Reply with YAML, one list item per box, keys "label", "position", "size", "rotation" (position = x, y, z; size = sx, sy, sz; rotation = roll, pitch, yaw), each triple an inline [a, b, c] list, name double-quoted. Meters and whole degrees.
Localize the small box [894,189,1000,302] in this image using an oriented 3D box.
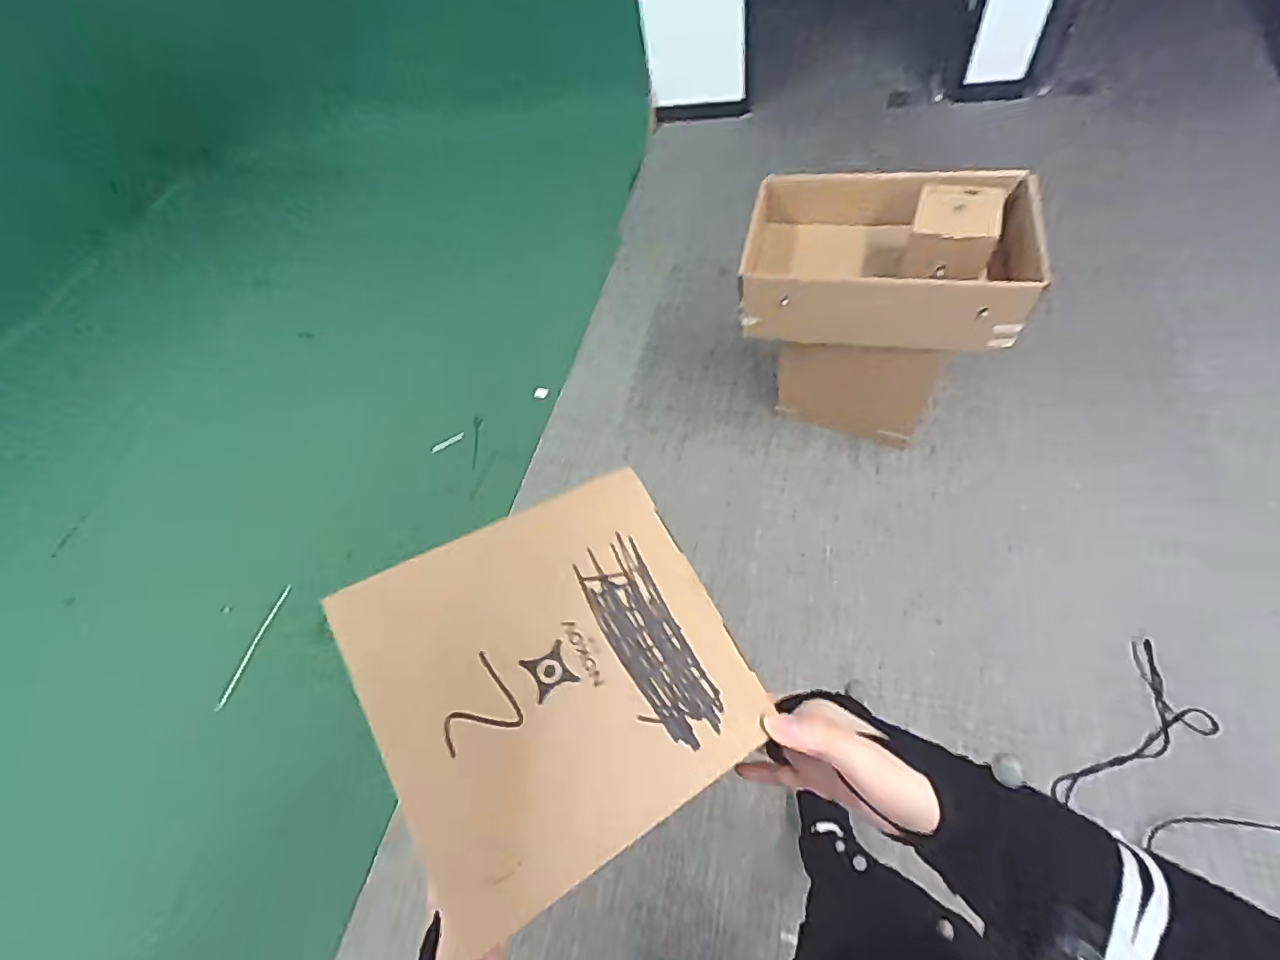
- label: "small box"
  position: [0.699, -0.536, 1.245]
  size: [0.168, 0.176, 0.179]
  rotation: [15, 64, 18]
